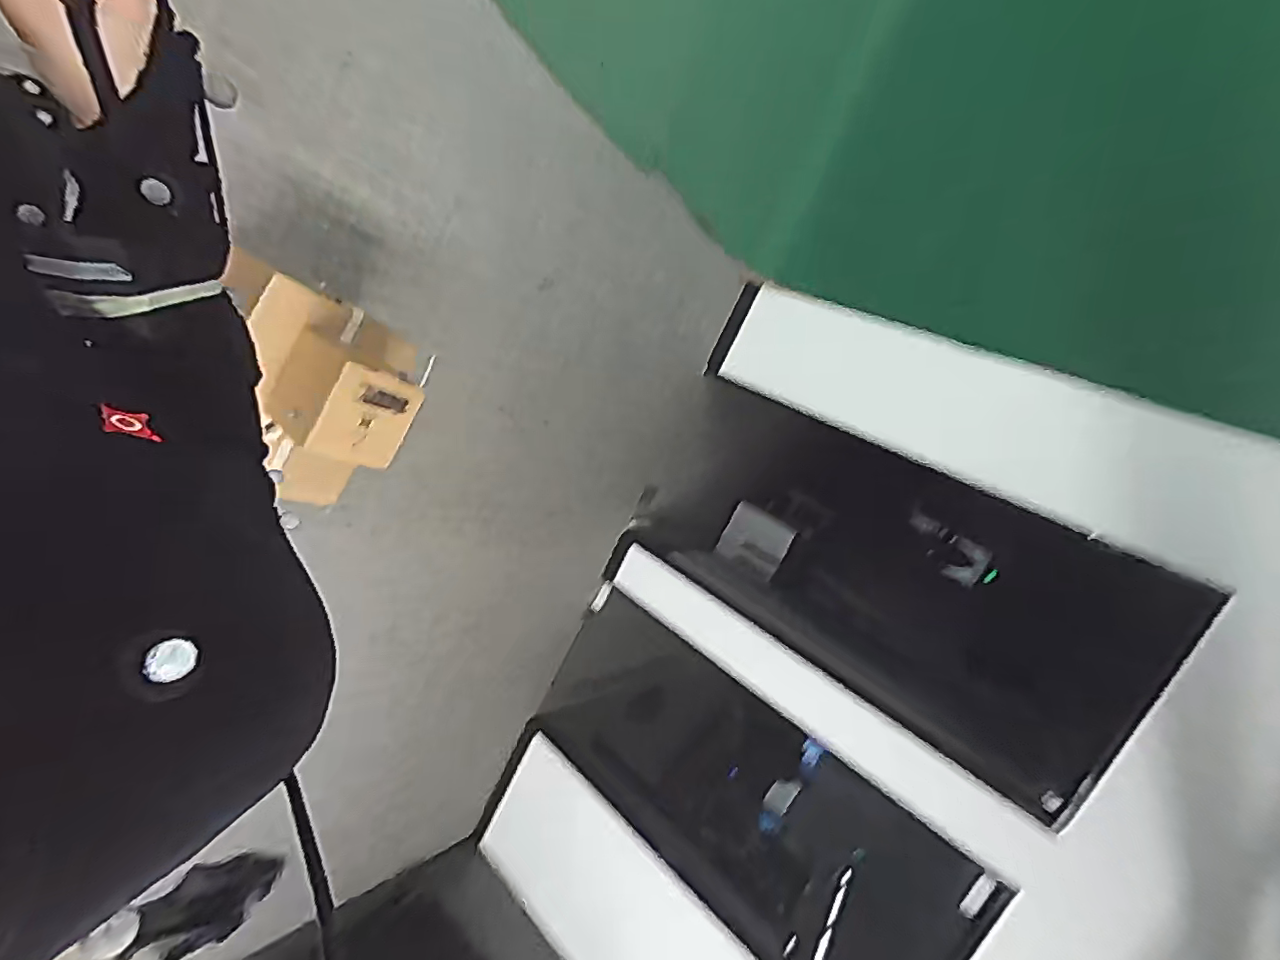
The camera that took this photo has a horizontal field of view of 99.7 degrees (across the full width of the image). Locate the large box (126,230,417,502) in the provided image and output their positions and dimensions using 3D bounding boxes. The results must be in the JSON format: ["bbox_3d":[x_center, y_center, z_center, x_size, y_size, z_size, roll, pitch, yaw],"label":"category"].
[{"bbox_3d":[-0.754,-0.223,1.122,0.408,0.320,0.320,-58,149,3],"label":"large box"}]
